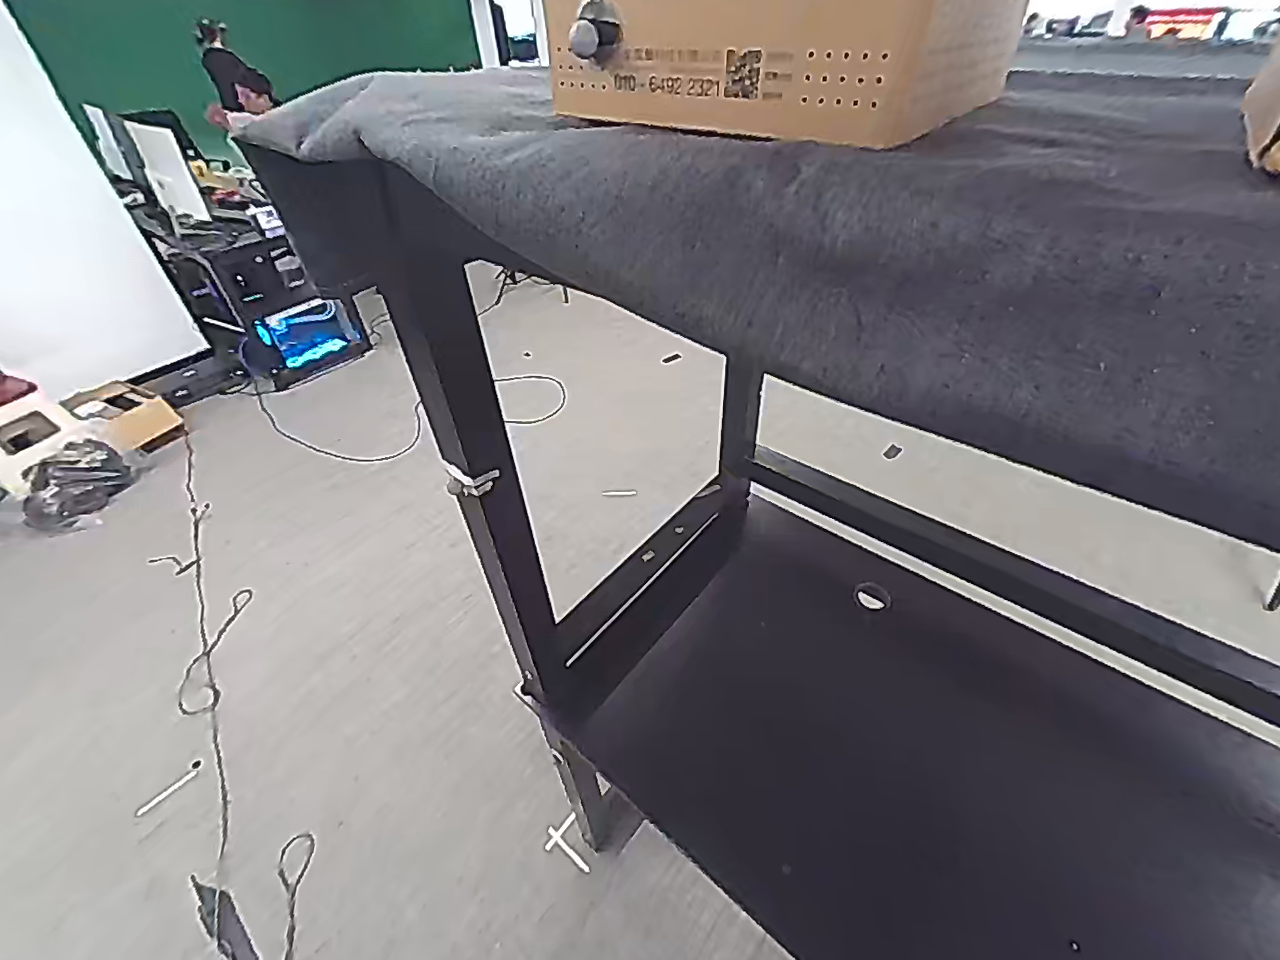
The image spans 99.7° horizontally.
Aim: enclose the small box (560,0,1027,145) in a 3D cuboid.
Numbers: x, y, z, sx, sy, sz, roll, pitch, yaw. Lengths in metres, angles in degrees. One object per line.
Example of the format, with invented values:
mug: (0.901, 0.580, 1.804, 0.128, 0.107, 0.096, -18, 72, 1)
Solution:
small box: (0.074, -0.250, 0.224, 0.168, 0.176, 0.179, 26, 47, 28)
